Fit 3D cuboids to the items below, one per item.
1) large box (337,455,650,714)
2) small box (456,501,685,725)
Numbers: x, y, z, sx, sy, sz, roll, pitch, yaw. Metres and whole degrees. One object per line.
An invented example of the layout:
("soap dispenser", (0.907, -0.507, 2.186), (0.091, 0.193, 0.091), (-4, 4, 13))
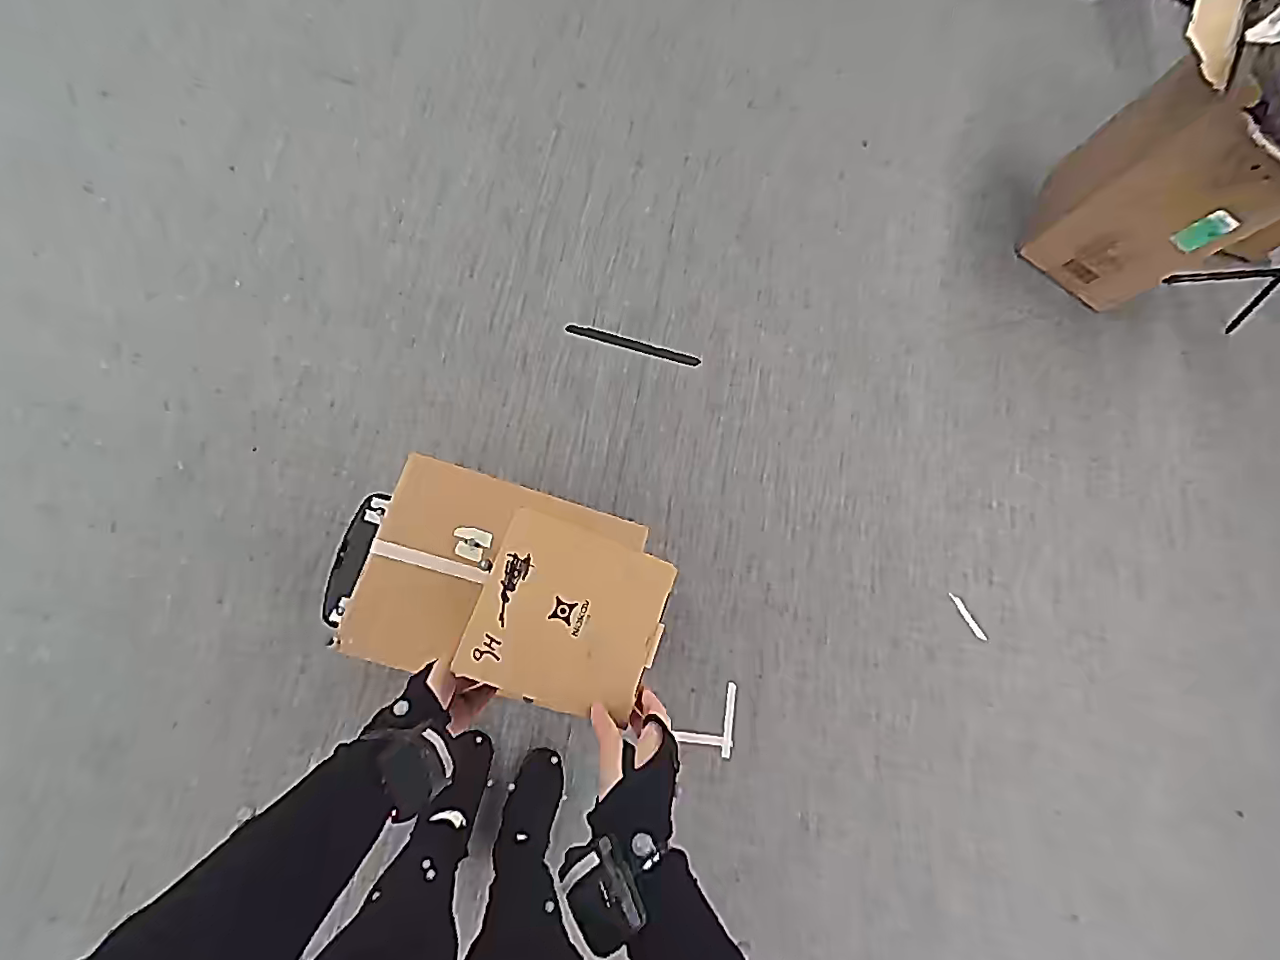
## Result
("large box", (-0.234, 0.193, 0.972), (0.408, 0.320, 0.320), (18, 72, -7))
("small box", (-0.078, 0.142, 0.589), (0.179, 0.176, 0.168), (23, 71, -7))
